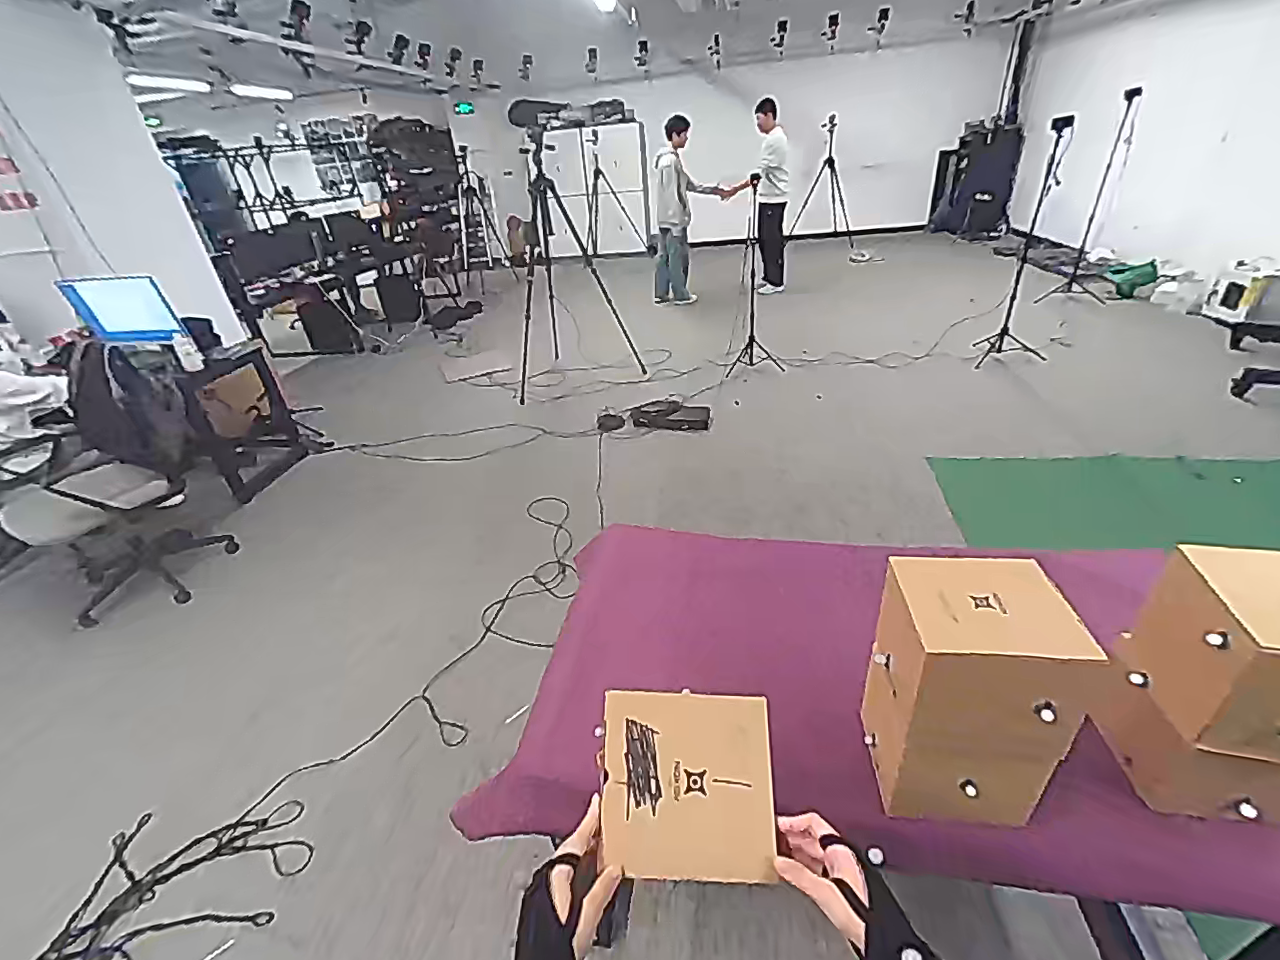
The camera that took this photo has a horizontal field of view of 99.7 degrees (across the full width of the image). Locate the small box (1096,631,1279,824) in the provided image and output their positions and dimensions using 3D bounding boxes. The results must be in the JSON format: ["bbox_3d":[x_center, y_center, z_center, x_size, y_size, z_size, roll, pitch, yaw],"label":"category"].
[{"bbox_3d":[0.762,0.323,0.713,0.179,0.176,0.168,-1,29,11],"label":"small box"}]

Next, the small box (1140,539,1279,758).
[{"bbox_3d":[0.729,0.192,0.618,0.168,0.176,0.179,3,32,18],"label":"small box"}]

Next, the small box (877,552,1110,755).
[{"bbox_3d":[0.404,0.206,0.657,0.179,0.176,0.168,-1,29,12],"label":"small box"}]
